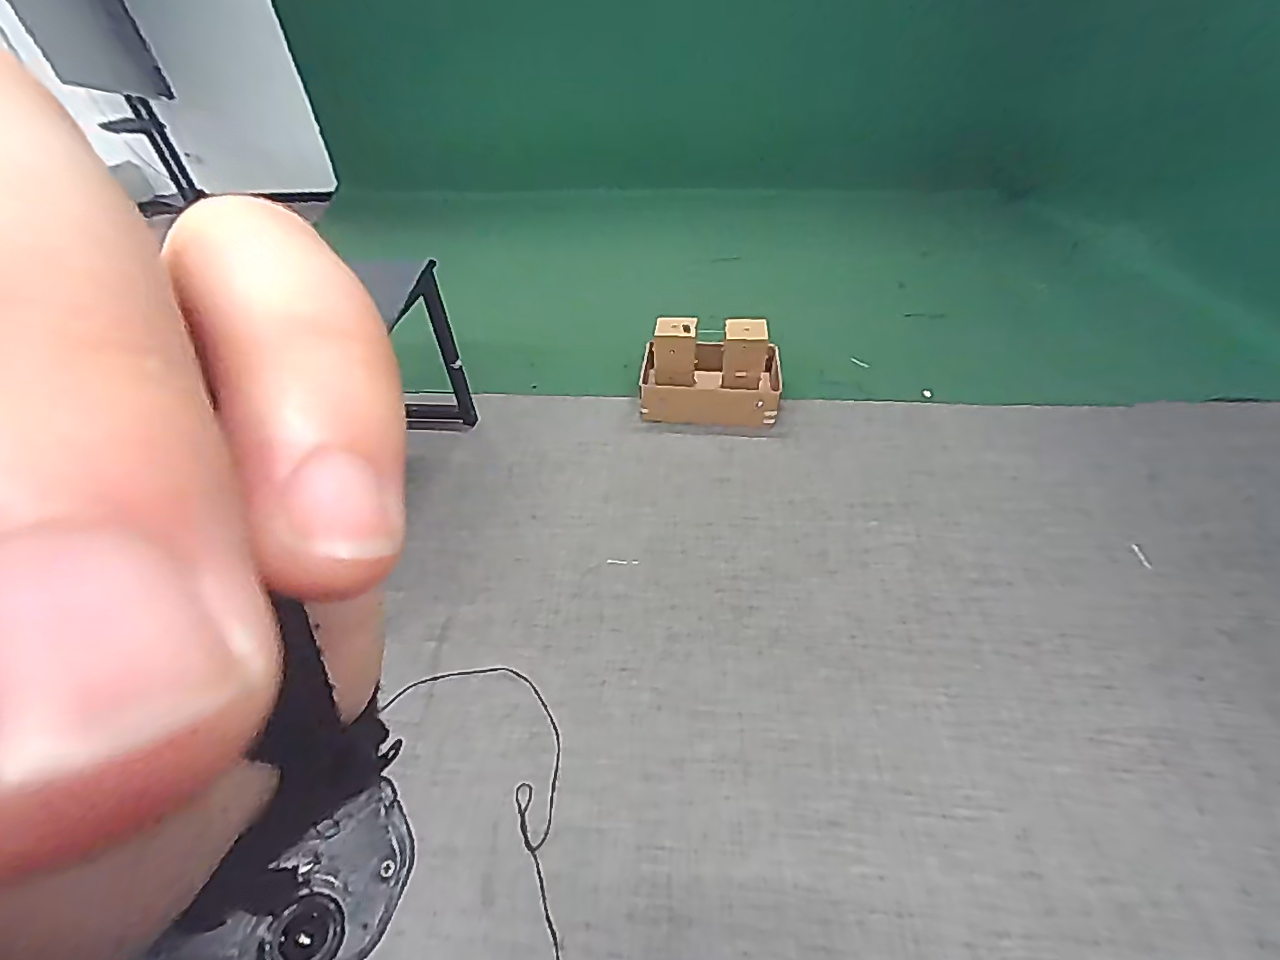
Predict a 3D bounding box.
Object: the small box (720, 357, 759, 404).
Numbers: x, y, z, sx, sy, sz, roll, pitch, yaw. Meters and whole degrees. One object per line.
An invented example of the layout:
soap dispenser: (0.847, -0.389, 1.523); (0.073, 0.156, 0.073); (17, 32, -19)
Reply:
small box: (0.451, -0.461, 2.448); (0.168, 0.176, 0.179); (4, 45, 8)

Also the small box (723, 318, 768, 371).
small box: (0.452, -0.583, 2.340); (0.179, 0.176, 0.168); (3, 46, 5)

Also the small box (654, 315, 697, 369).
small box: (0.155, -0.601, 2.364); (0.179, 0.176, 0.168); (4, 44, 6)
